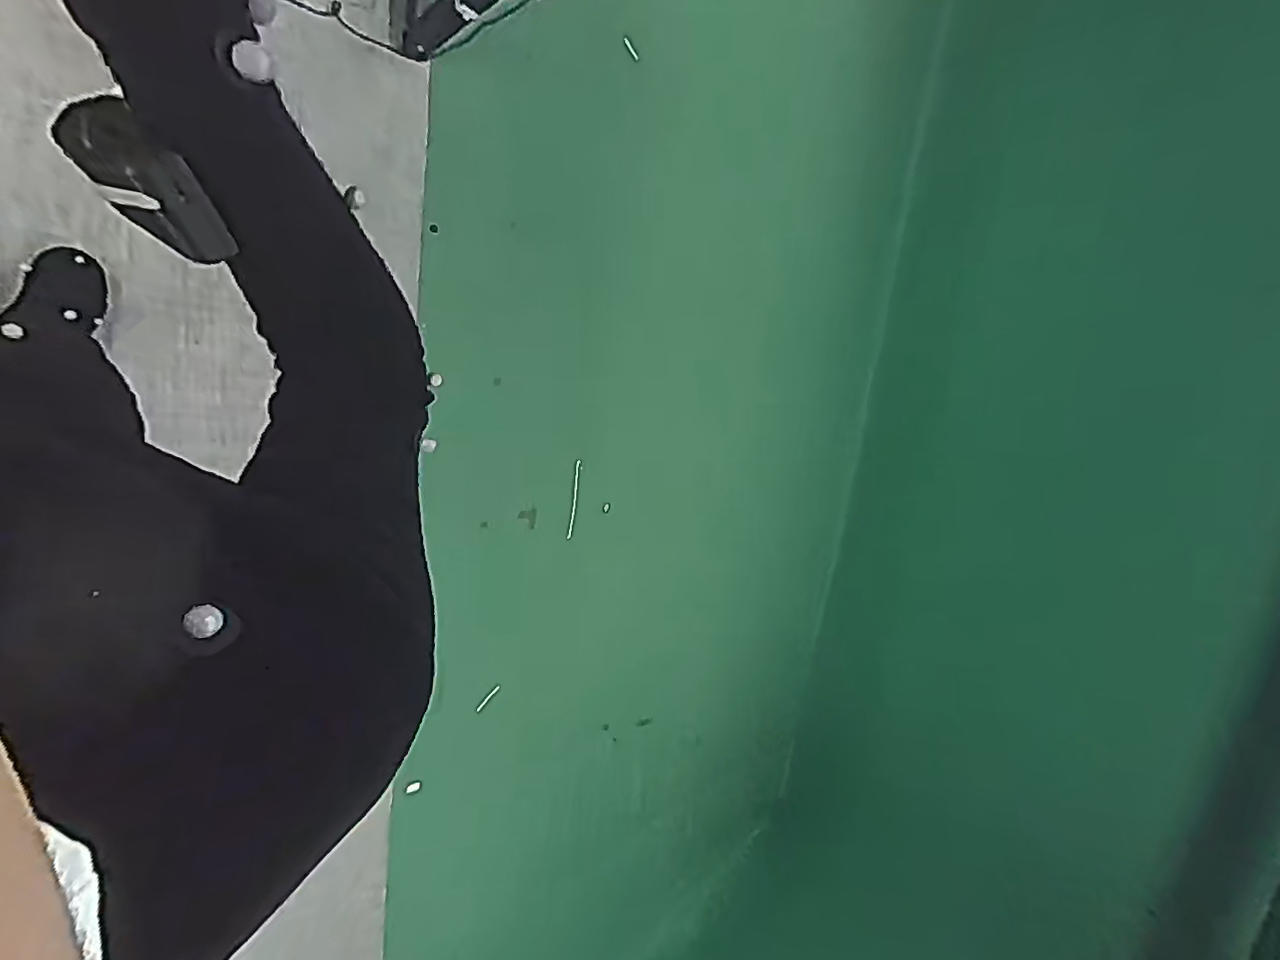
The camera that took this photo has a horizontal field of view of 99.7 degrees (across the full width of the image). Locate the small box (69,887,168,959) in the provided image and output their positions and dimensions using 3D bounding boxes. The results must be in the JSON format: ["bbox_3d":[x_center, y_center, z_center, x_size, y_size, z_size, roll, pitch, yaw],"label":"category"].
[{"bbox_3d":[-1.254,1.131,1.299,0.168,0.176,0.179,-1,104,-45],"label":"small box"}]
